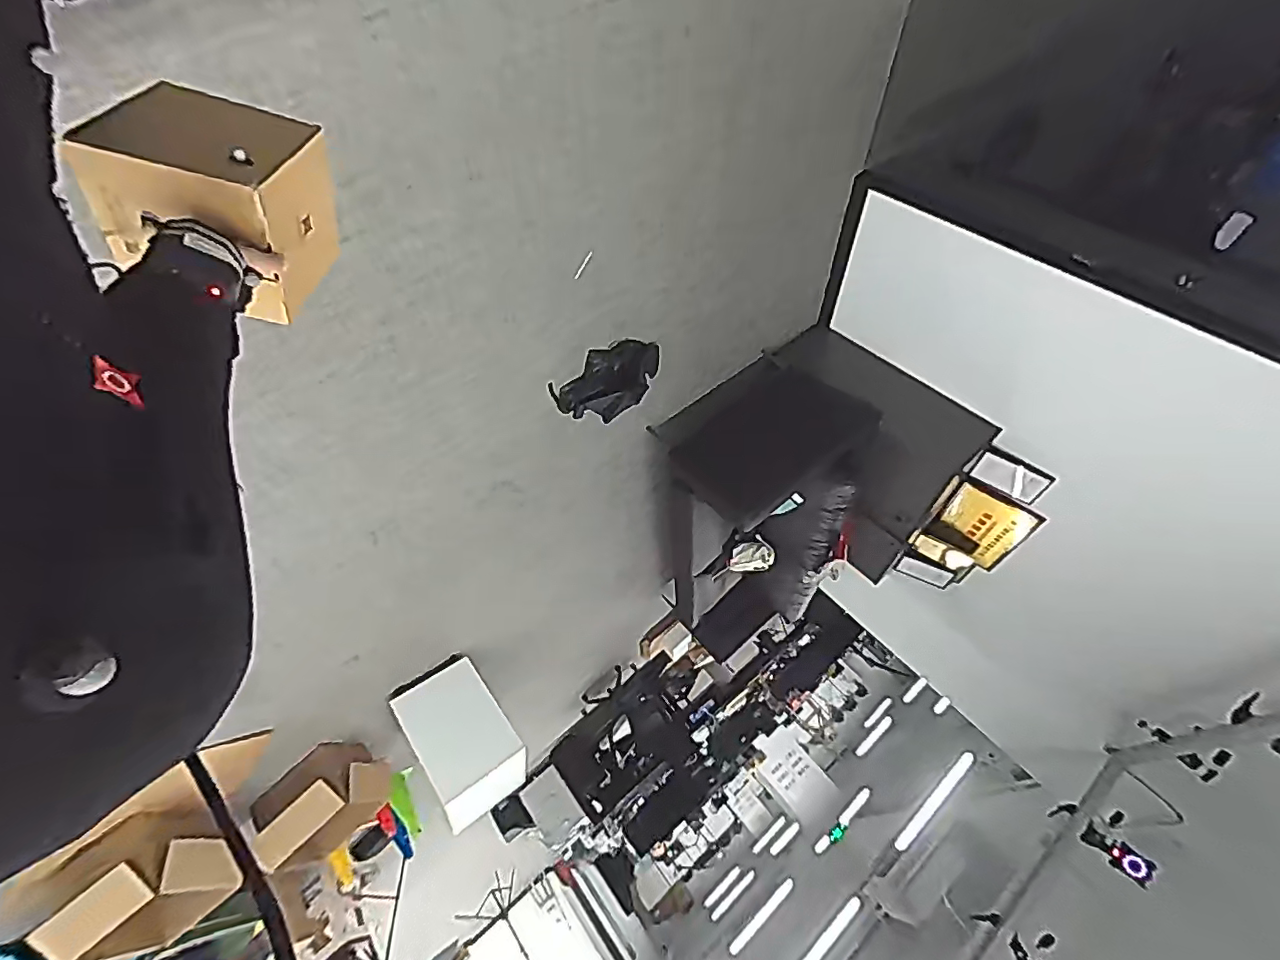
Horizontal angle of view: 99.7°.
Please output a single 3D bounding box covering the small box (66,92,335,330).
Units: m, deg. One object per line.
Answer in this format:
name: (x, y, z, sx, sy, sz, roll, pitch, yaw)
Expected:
small box: (-0.477, -0.307, 0.621, 0.176, 0.179, 0.168, 11, 139, -13)
